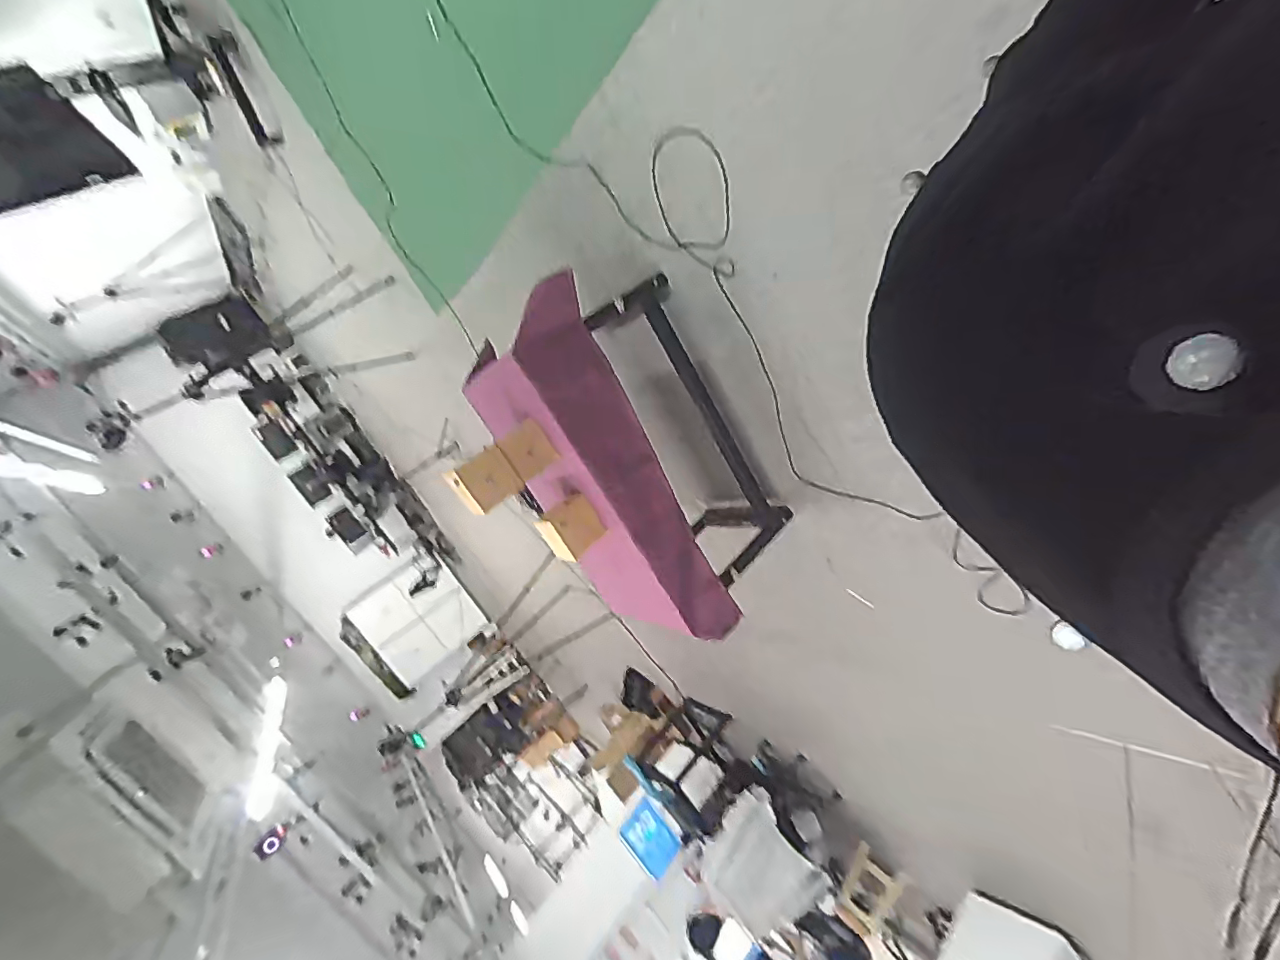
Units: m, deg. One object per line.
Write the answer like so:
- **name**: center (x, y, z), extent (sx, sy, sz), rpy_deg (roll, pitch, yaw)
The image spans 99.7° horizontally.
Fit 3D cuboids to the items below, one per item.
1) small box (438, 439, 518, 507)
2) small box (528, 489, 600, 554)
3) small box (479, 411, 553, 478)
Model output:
- **small box**: center (-0.548, -0.027, 1.833), extent (0.168, 0.176, 0.179), rpy_deg (-7, 118, 58)
- **small box**: center (-0.279, 0.150, 2.008), extent (0.168, 0.176, 0.179), rpy_deg (-4, 120, 57)
- **small box**: center (-0.438, -0.120, 1.913), extent (0.179, 0.176, 0.168), rpy_deg (57, 151, -14)
